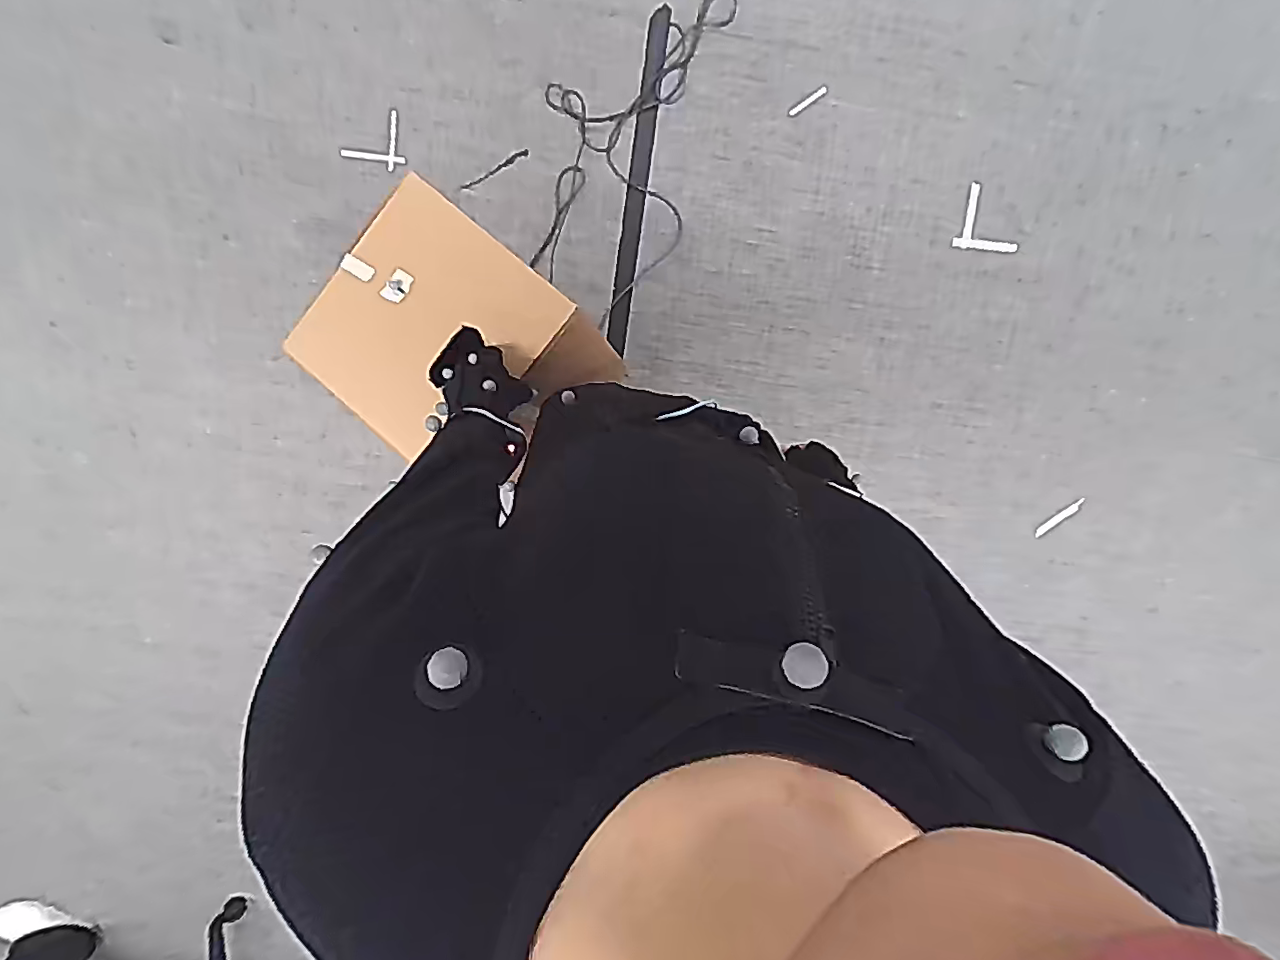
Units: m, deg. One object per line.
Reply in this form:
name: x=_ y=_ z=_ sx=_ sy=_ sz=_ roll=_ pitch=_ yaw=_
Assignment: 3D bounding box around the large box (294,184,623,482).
large box: x=-0.274 y=-0.214 z=0.946 sx=0.320 sy=0.408 sz=0.320 roll=42 pitch=96 yaw=6
